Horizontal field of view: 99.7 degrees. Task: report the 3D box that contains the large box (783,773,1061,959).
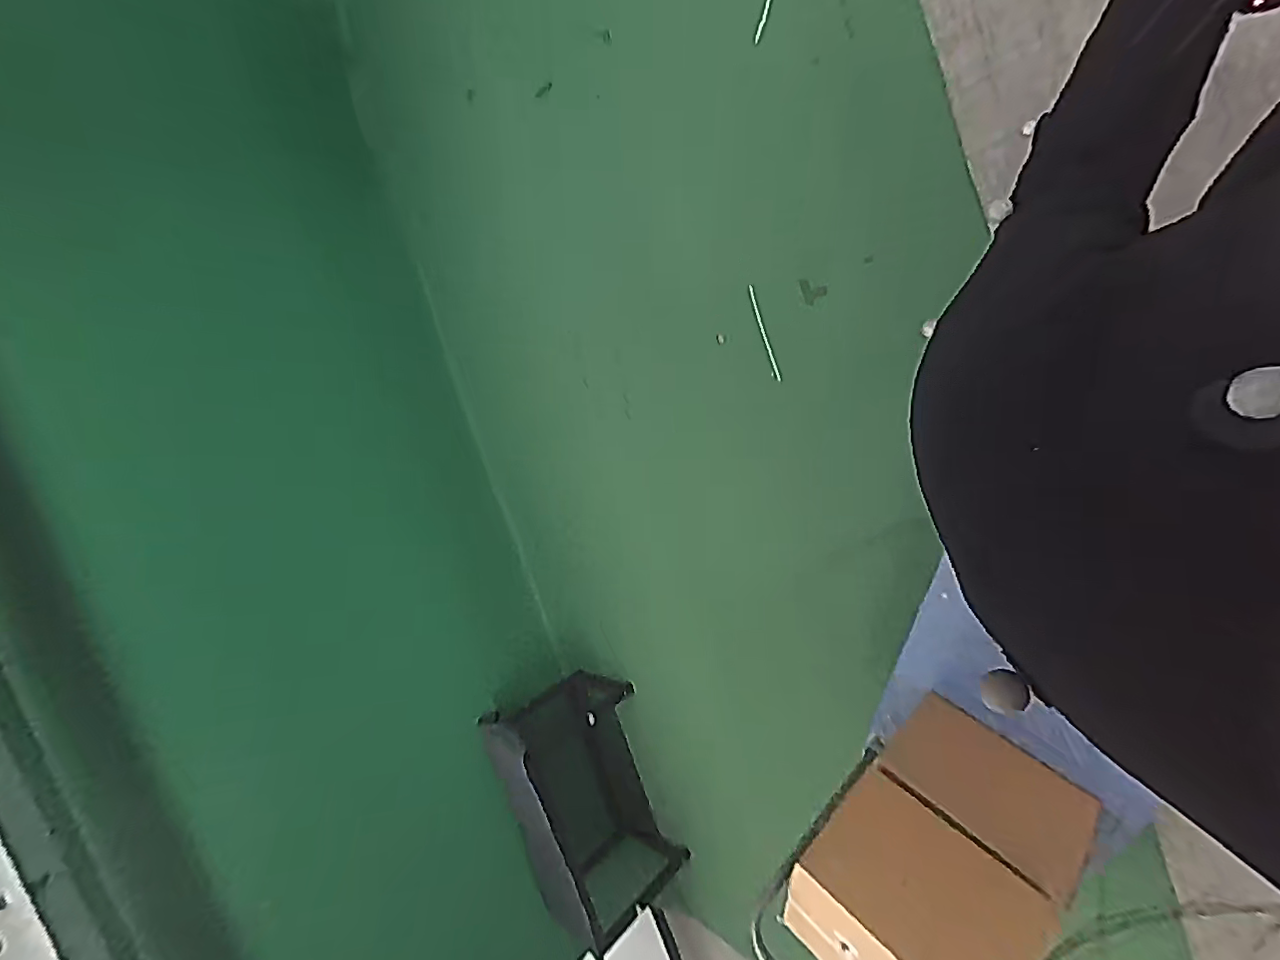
[{"bbox_3d":[0.573,0.945,1.154,0.408,0.320,0.320,30,135,40],"label":"large box"}]
